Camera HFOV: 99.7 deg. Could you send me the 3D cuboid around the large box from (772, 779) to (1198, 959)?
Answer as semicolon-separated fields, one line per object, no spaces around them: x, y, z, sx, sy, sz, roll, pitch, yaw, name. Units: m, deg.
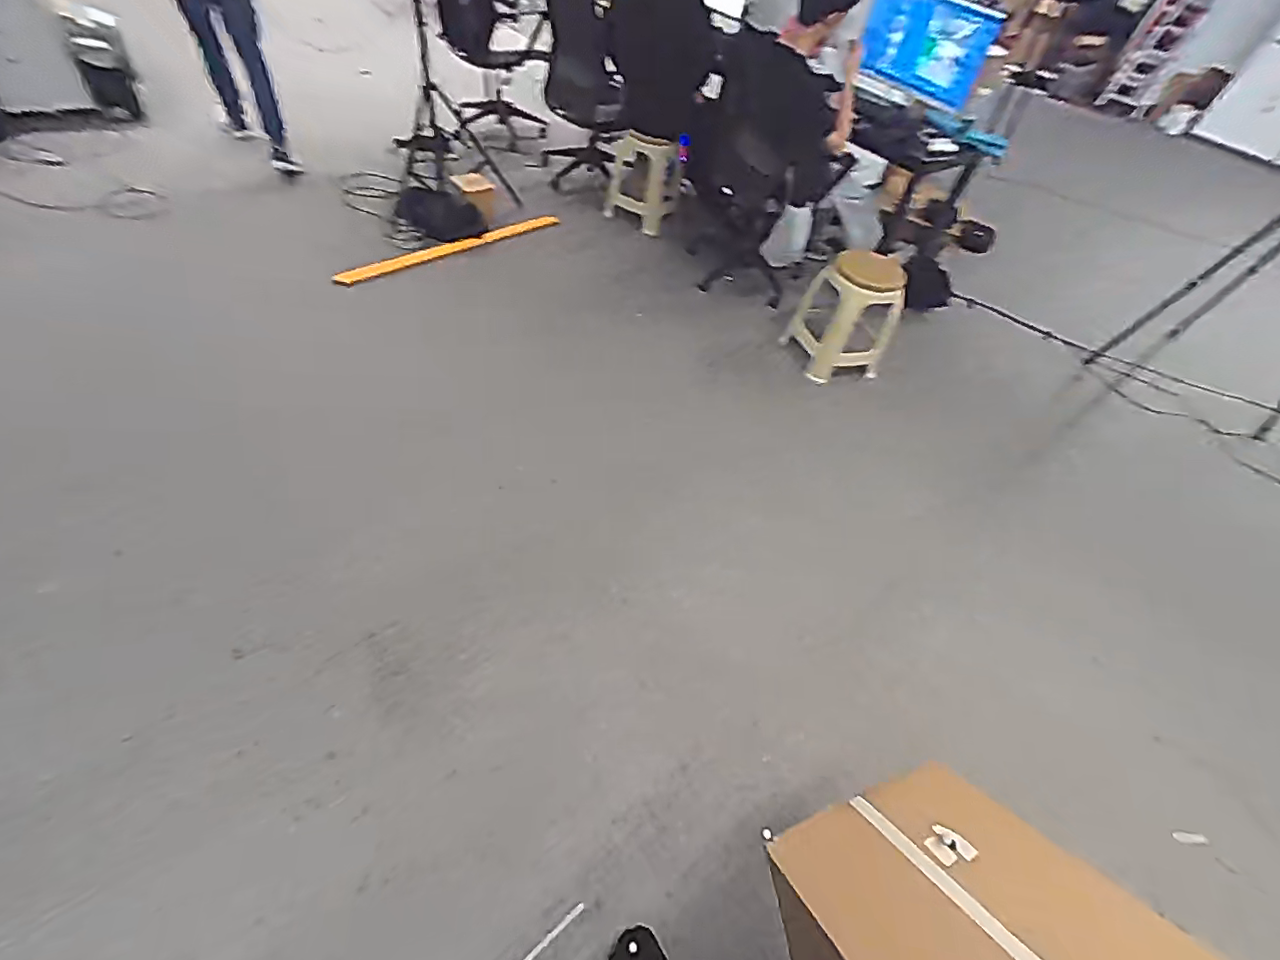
0.423;0.665;0.646;0.320;0.408;0.320;-15;96;-15;large box
